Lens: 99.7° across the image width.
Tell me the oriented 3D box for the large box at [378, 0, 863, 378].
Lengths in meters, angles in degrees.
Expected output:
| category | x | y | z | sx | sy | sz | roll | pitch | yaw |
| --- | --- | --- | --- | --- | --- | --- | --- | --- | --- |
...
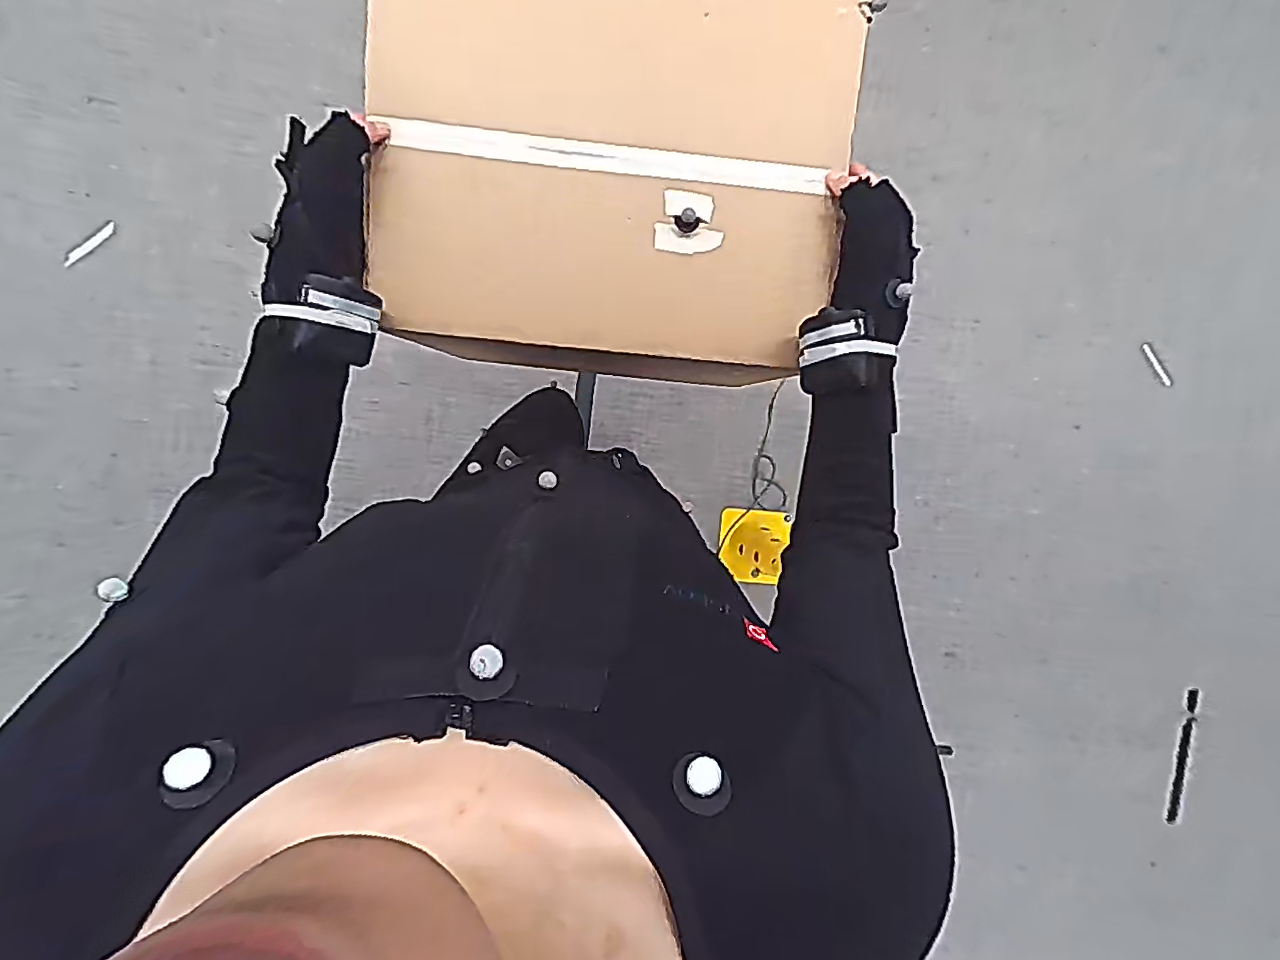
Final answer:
| category | x | y | z | sx | sy | sz | roll | pitch | yaw |
| --- | --- | --- | --- | --- | --- | --- | --- | --- | --- |
| large box | -0.029 | -0.295 | 0.609 | 0.408 | 0.320 | 0.320 | 5 | 97 | -5 |
